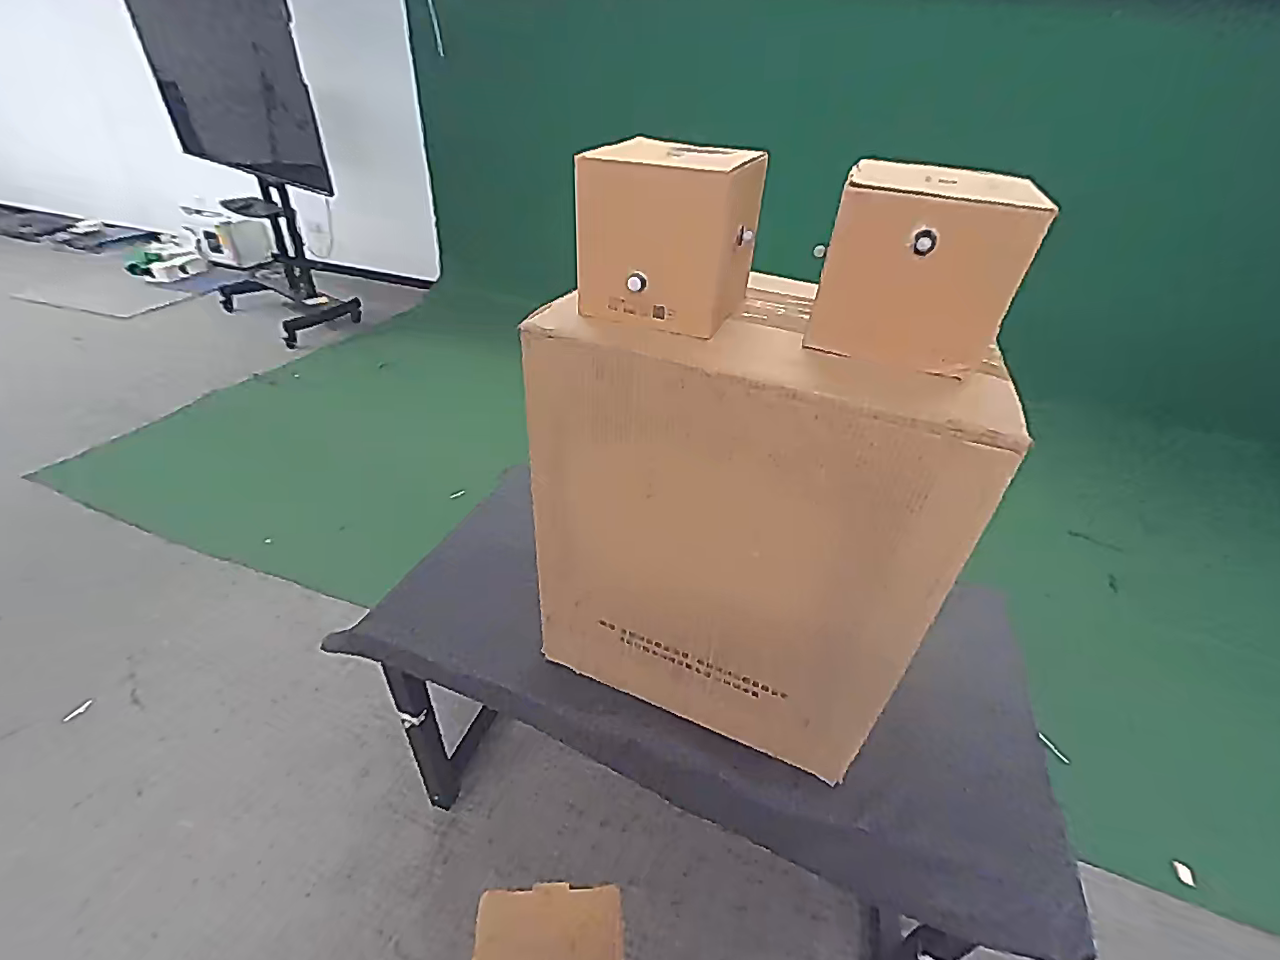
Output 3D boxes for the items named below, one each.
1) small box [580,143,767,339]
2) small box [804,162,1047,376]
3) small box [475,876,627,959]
[{"bbox_3d":[0.039,-0.289,0.644,0.168,0.176,0.179,16,40,17],"label":"small box"},{"bbox_3d":[0.294,-0.232,0.592,0.179,0.176,0.168,18,41,14],"label":"small box"},{"bbox_3d":[-0.100,0.594,0.632,0.168,0.176,0.179,-1,39,-1],"label":"small box"}]
